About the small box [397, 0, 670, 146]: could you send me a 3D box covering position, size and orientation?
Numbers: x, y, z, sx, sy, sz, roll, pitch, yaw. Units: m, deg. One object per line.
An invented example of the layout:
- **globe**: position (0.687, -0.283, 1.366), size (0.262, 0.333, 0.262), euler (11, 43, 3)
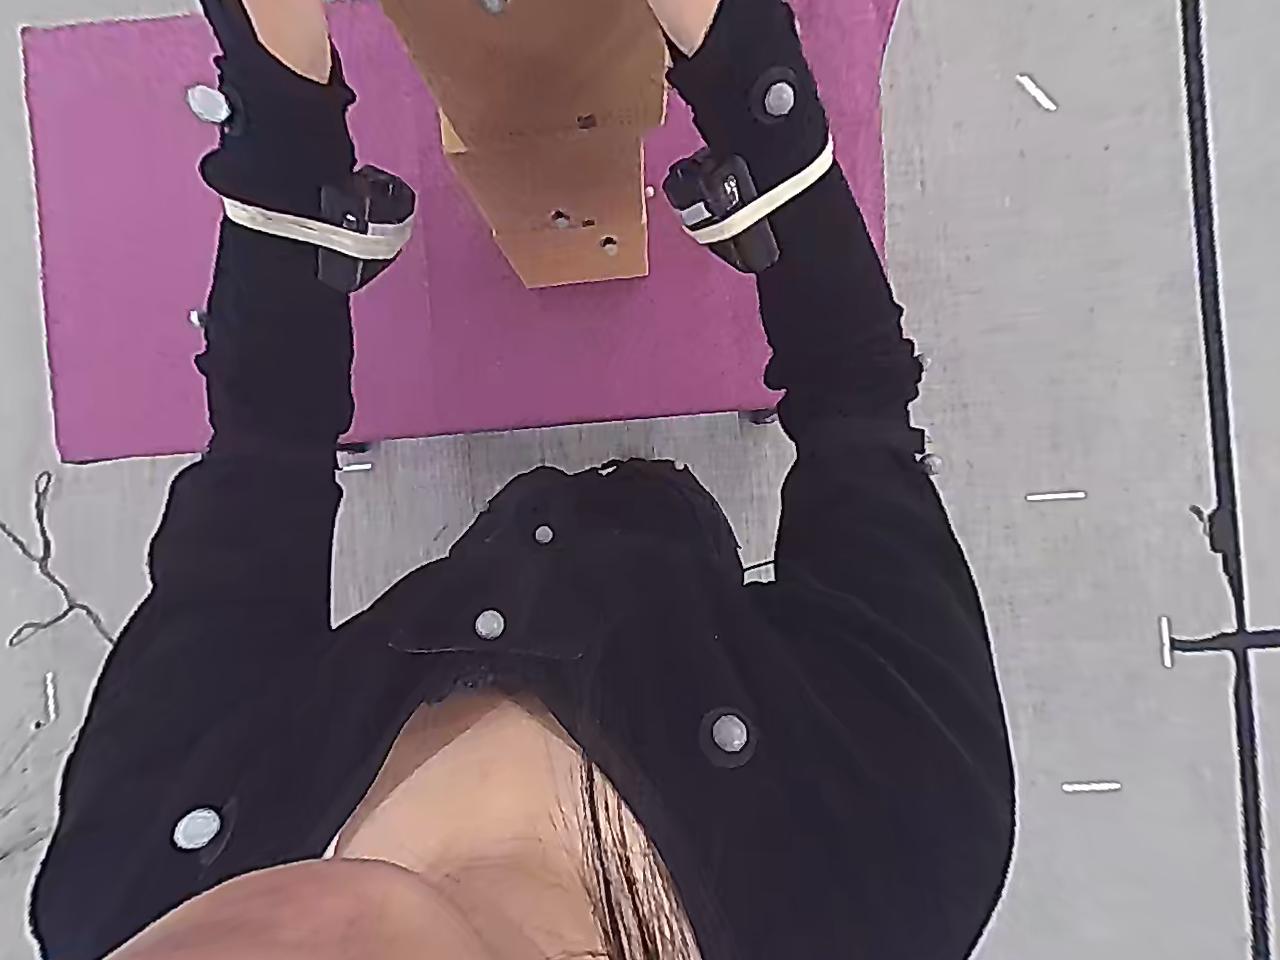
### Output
- **small box**: position (-0.071, -0.361, 0.354), size (0.168, 0.176, 0.179), euler (-6, 90, 1)

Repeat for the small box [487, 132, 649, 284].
- **small box**: position (-0.082, -0.362, 0.683), size (0.179, 0.176, 0.168), euler (-5, 90, 2)
